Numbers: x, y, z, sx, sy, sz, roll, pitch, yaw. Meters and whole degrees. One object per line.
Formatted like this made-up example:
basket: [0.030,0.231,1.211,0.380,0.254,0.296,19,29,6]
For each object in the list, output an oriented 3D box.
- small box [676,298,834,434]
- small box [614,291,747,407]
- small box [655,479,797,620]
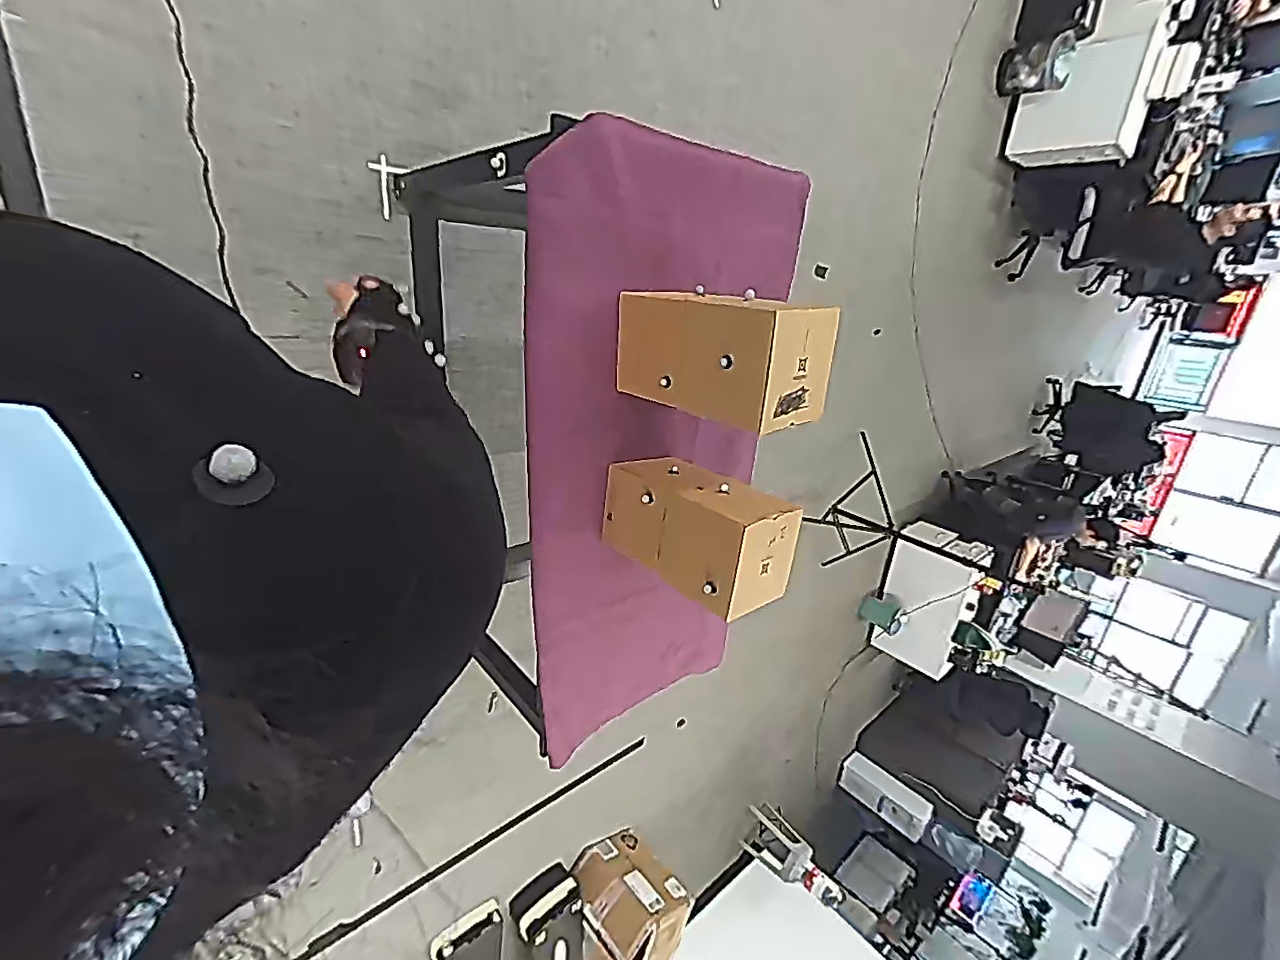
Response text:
small box: [0.173,-0.186,0.849,0.168,0.176,0.179,-16,118,-40]
small box: [0.068,-0.240,0.963,0.168,0.176,0.179,-16,119,-39]
small box: [0.145,0.112,0.953,0.168,0.176,0.179,-10,114,-42]
